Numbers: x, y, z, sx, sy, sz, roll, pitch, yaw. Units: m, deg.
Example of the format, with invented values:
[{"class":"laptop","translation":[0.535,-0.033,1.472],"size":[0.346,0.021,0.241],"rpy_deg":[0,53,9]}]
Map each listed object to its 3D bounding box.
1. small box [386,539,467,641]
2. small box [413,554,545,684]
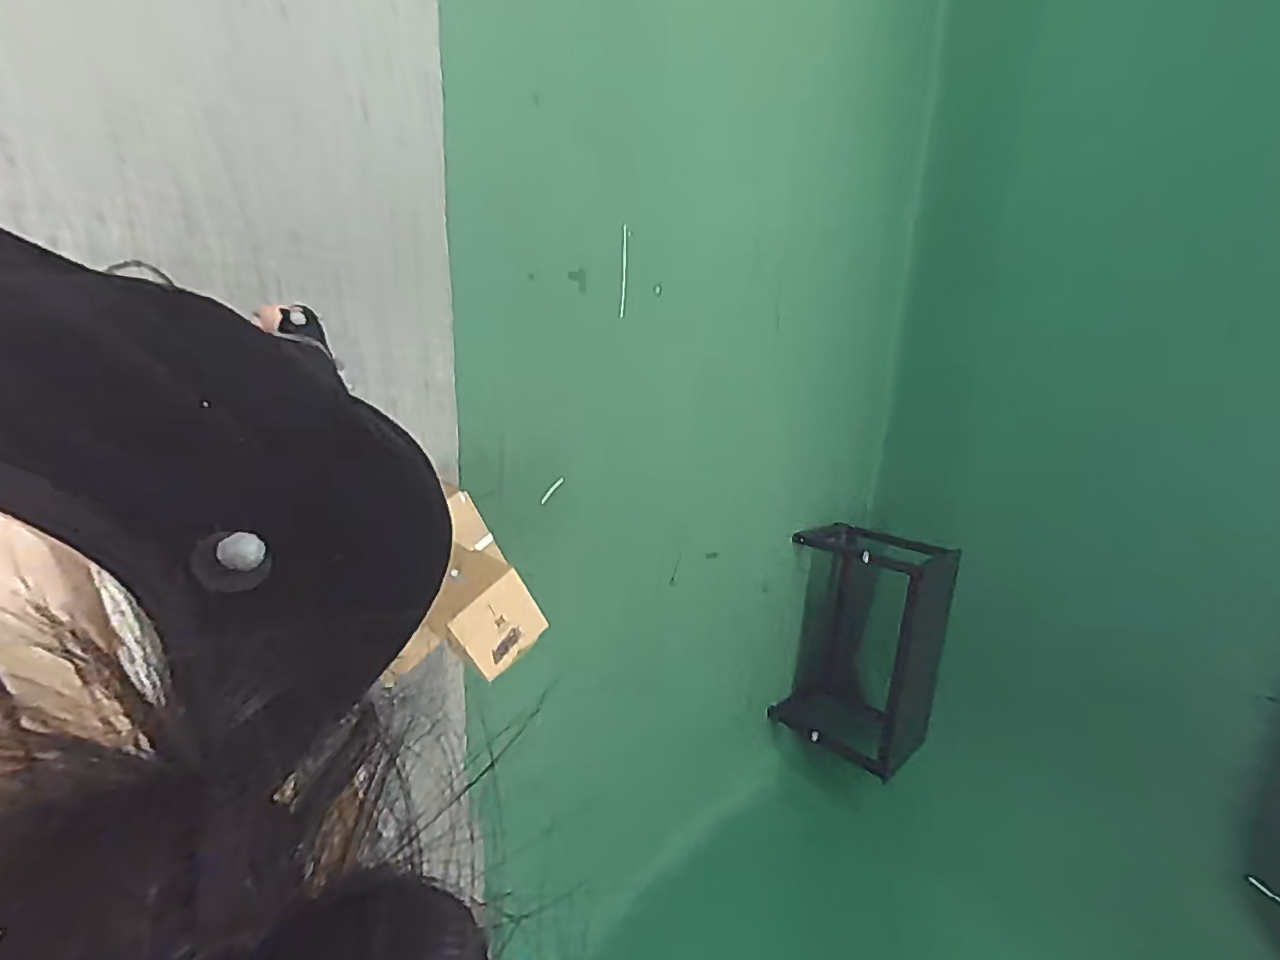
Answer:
[{"class":"small box","translation":[-0.446,0.262,1.251],"size":[0.168,0.176,0.179],"rpy_deg":[-46,129,-28]},{"class":"small box","translation":[-0.336,0.281,1.131],"size":[0.168,0.176,0.179],"rpy_deg":[-42,125,-31]}]
